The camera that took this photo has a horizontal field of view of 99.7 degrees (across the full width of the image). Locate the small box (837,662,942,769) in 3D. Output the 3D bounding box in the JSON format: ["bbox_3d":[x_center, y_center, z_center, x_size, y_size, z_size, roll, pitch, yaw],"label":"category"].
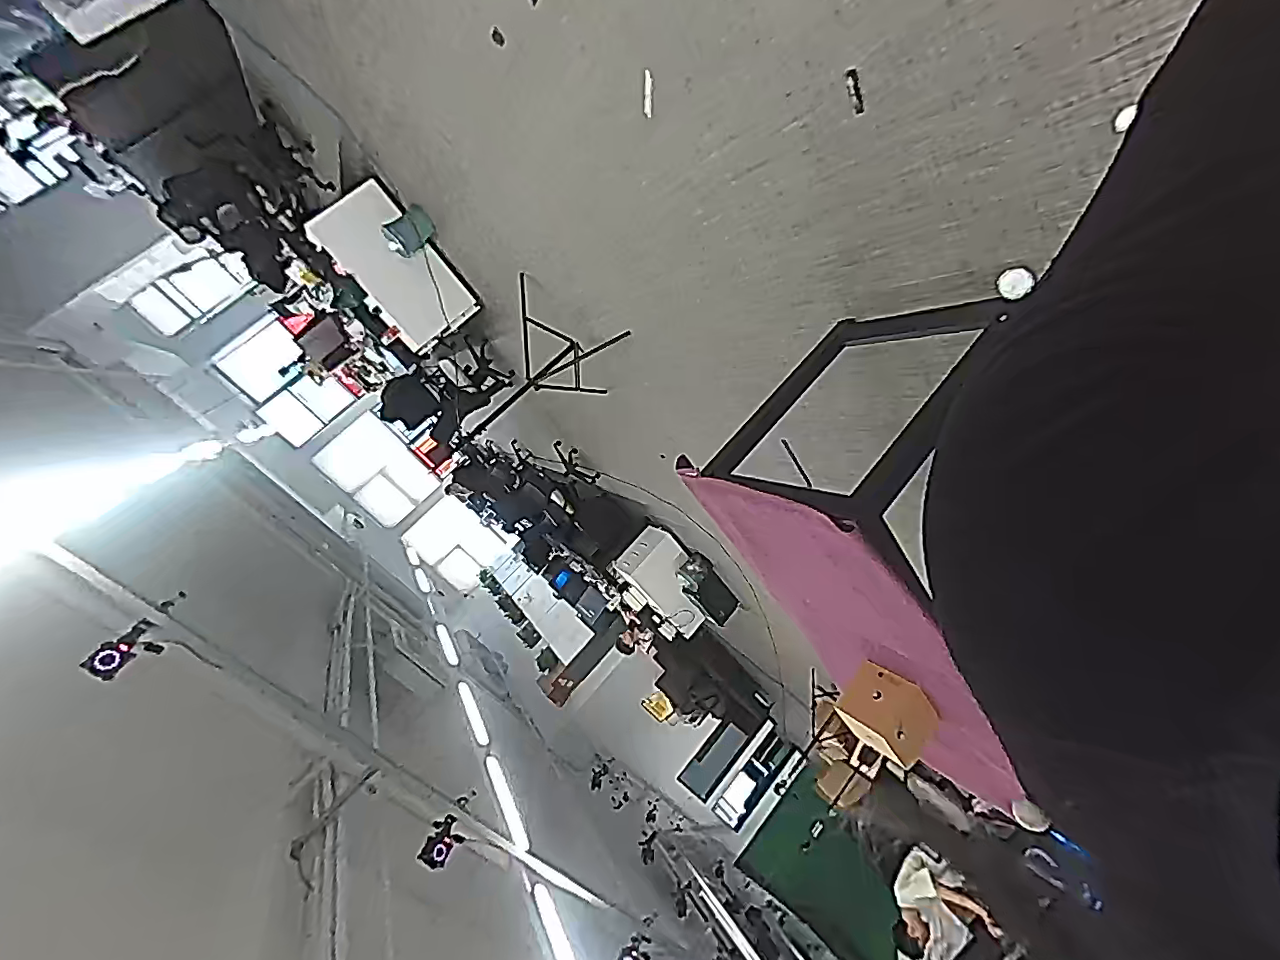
[{"bbox_3d":[0.678,0.630,1.467,0.179,0.176,0.168,51,165,-25],"label":"small box"}]
